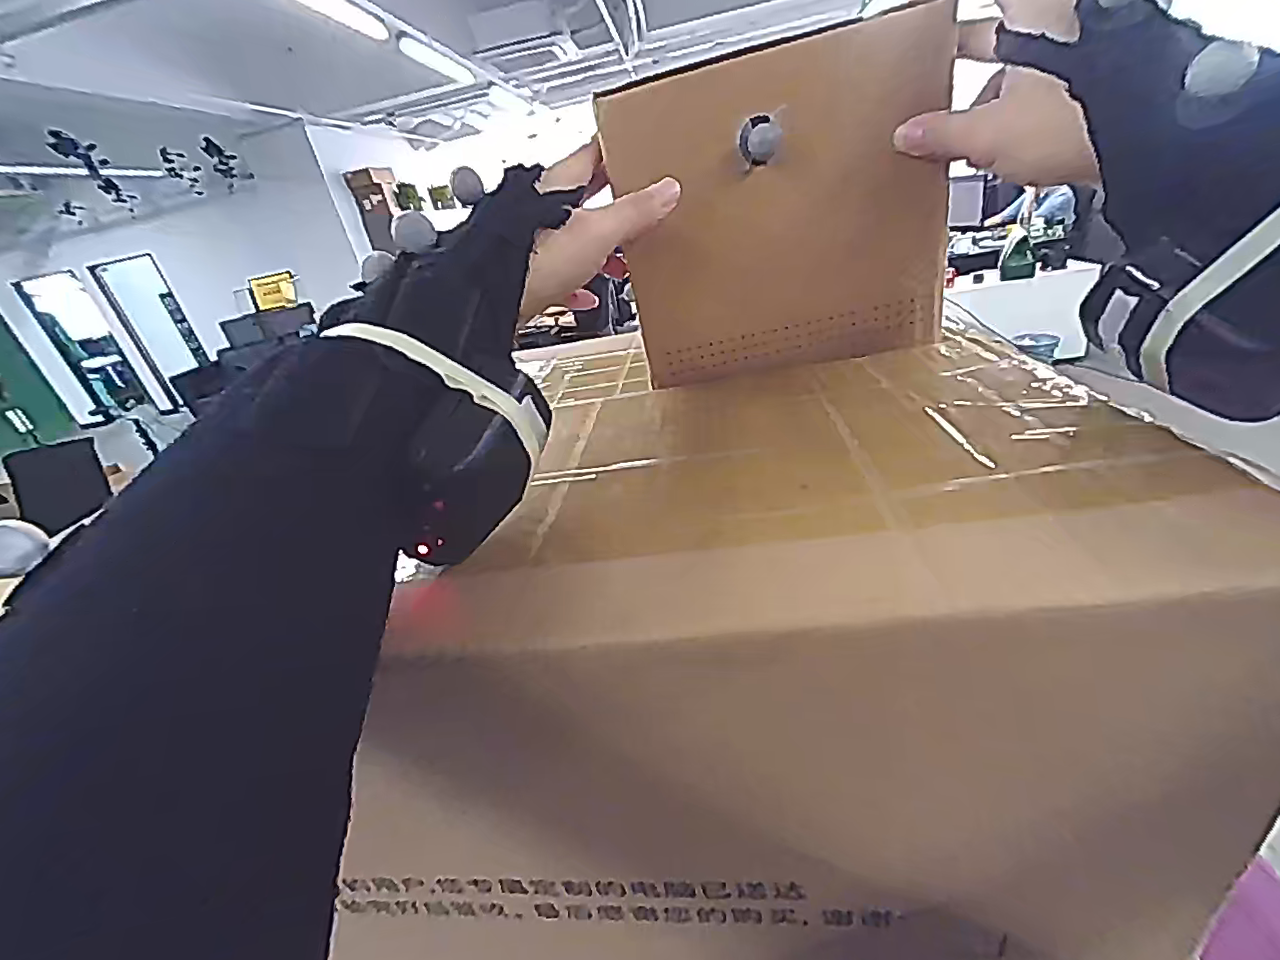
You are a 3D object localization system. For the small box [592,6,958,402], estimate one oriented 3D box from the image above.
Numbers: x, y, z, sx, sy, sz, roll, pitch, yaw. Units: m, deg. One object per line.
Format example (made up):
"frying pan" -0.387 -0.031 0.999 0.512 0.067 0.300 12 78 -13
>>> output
"small box" 0.080 -0.170 0.363 0.179 0.176 0.168 -11 29 7
